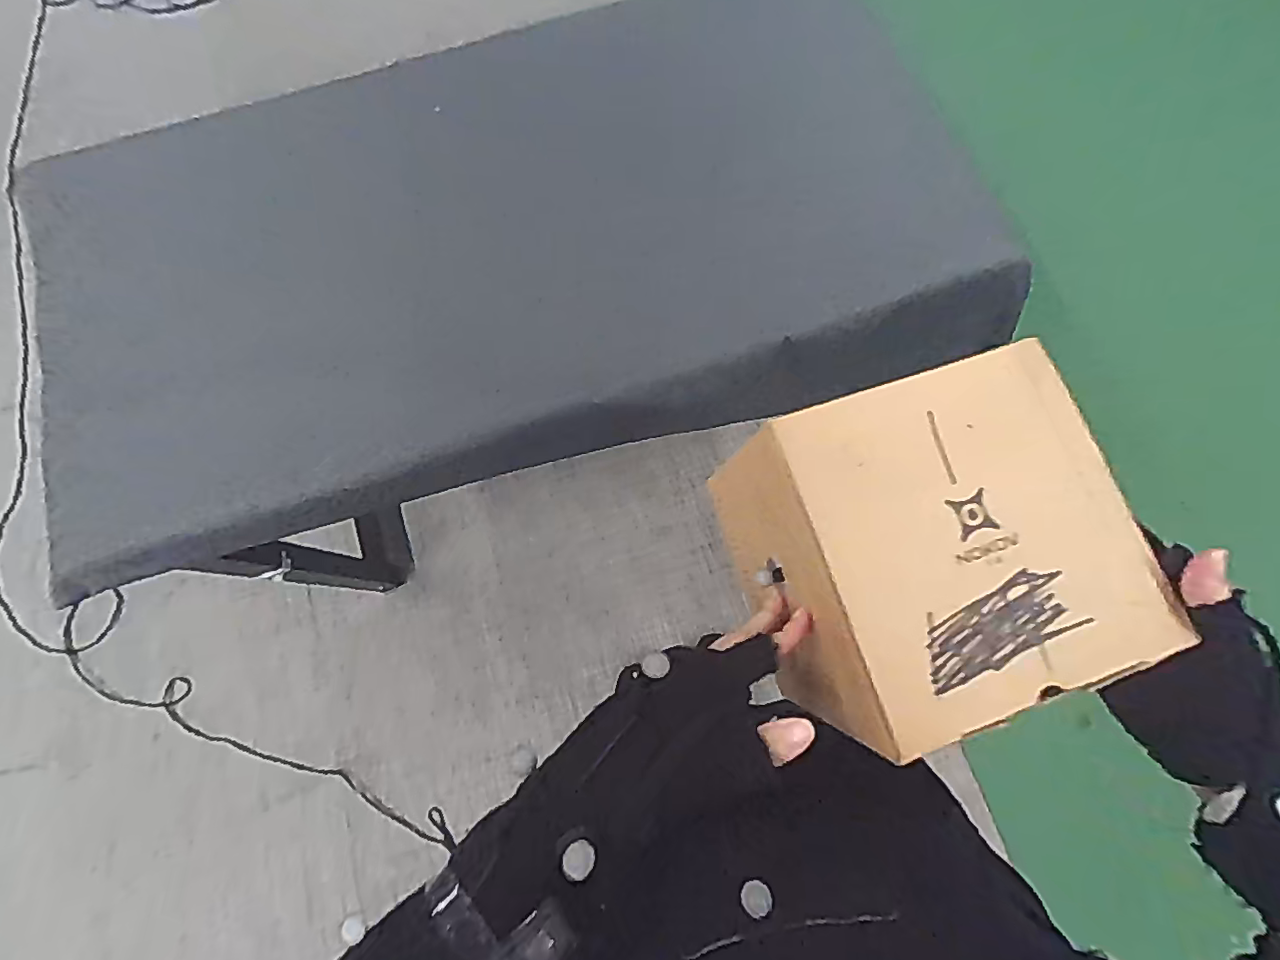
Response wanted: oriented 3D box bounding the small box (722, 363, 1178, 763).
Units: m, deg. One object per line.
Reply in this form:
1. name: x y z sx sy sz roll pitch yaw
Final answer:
1. small box: 0.169 0.051 0.360 0.168 0.176 0.179 -16 79 -7
